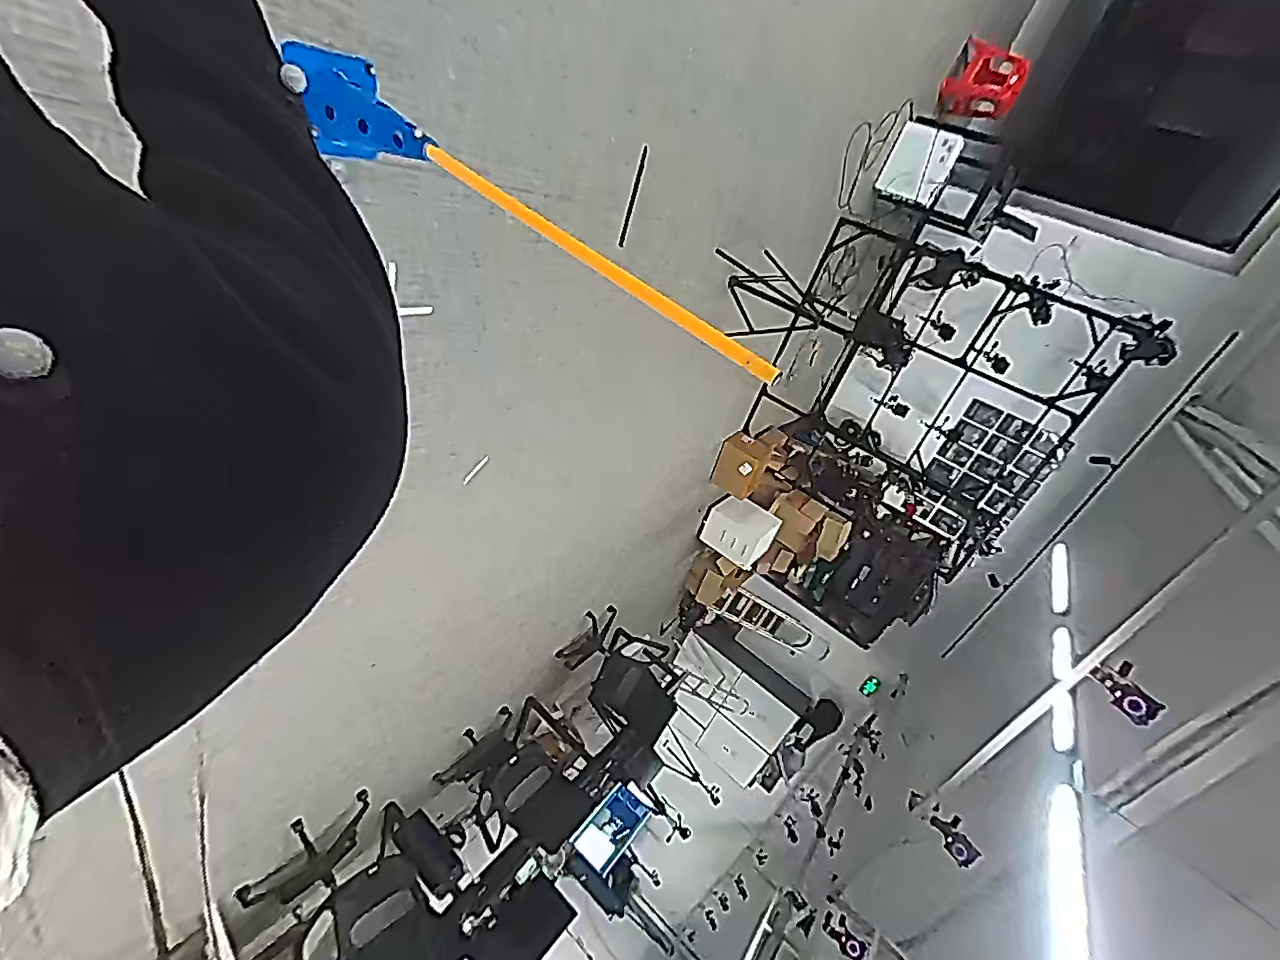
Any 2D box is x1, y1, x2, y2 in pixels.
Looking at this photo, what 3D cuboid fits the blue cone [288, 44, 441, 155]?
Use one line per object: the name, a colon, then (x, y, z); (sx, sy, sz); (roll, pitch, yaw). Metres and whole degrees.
blue cone: (-0.547, -0.752, 1.135); (0.193, 0.380, 0.192); (-28, 144, -48)
